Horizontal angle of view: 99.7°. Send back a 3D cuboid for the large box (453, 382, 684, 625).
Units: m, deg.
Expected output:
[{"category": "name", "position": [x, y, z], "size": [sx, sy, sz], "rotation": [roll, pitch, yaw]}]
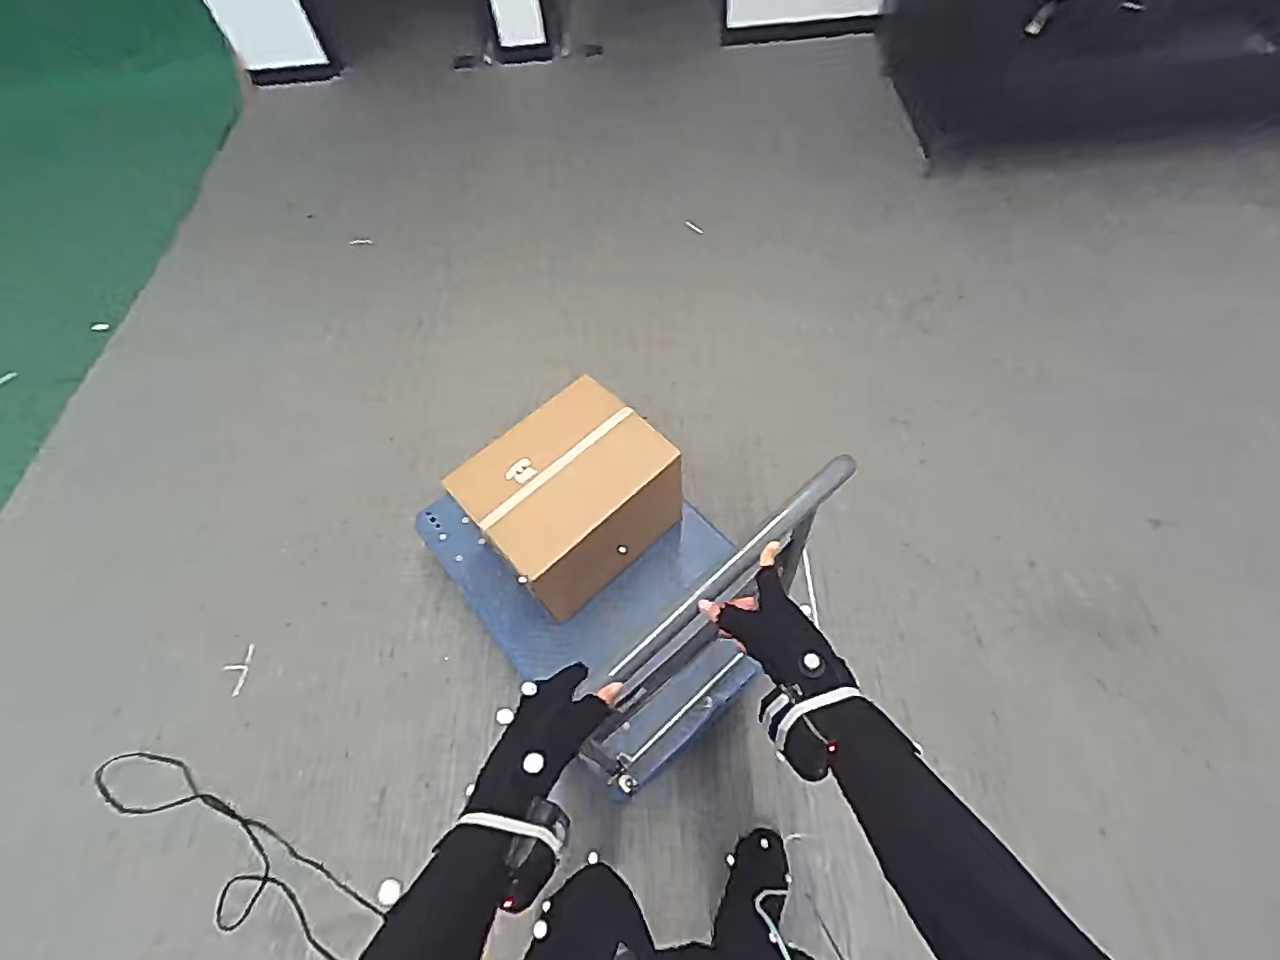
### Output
[{"category": "large box", "position": [-0.140, 0.059, 1.261], "size": [0.408, 0.320, 0.320], "rotation": [-42, 65, -17]}]
